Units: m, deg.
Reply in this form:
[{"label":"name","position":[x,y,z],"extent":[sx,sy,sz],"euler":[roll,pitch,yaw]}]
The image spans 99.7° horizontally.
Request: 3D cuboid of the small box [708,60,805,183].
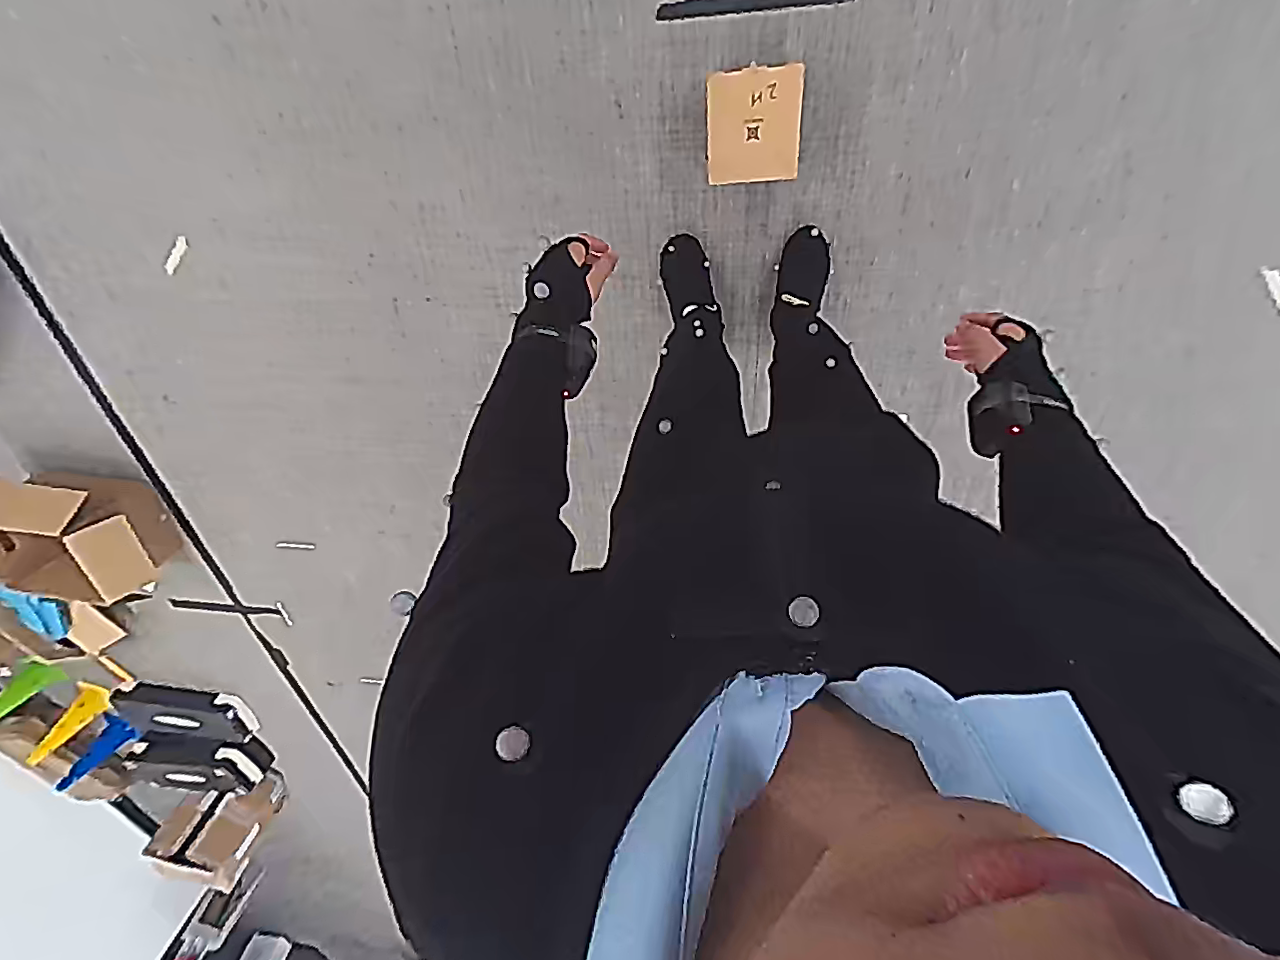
[{"label":"small box","position":[0.215,-0.678,1.027],"extent":[0.168,0.176,0.179],"euler":[0,124,9]}]
